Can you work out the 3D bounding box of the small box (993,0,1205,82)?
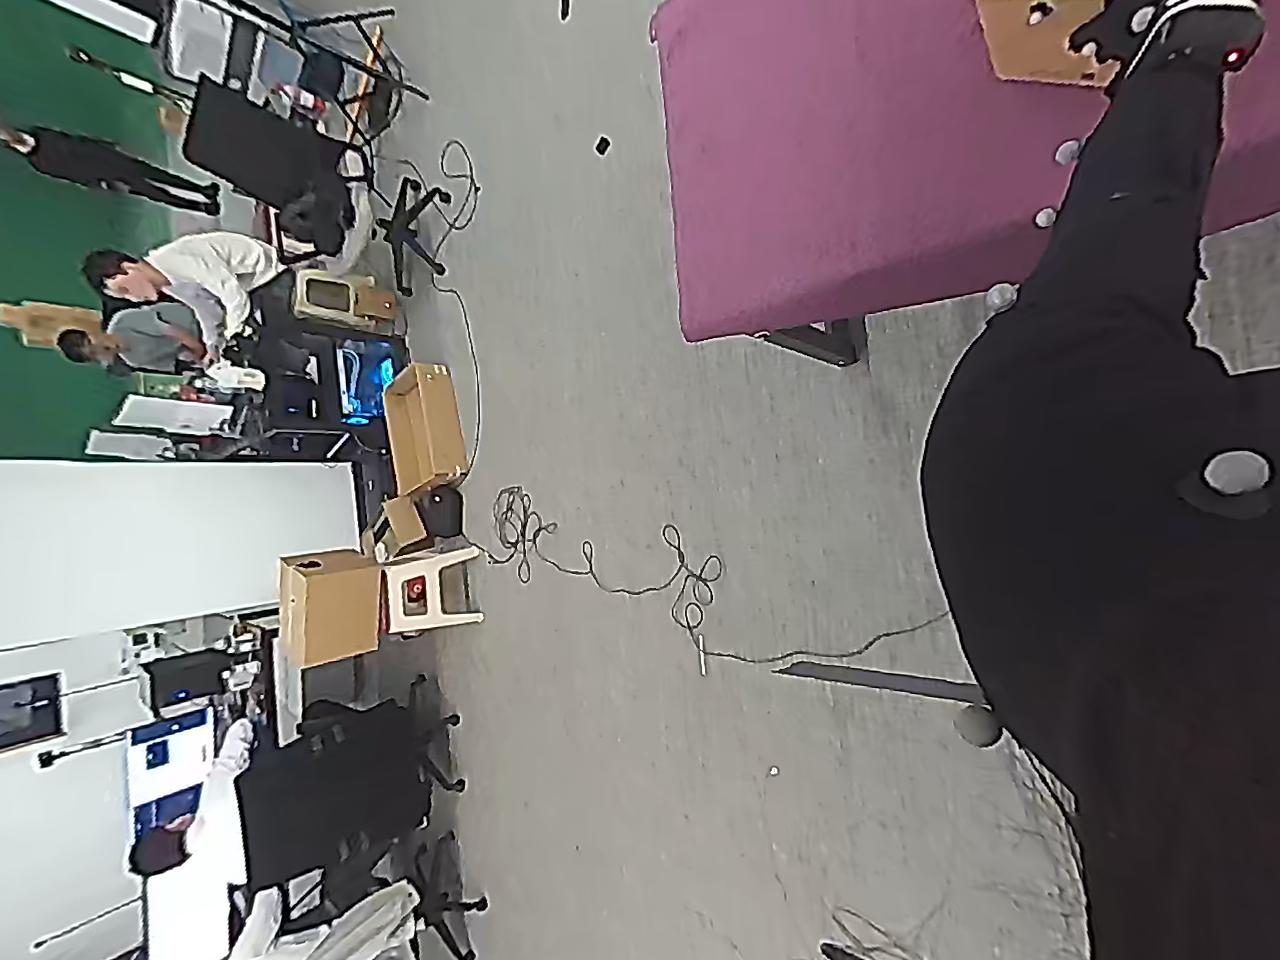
[{"bbox_3d":[0.474,-0.538,0.531,0.168,0.176,0.179,37,115,34],"label":"small box"}]
